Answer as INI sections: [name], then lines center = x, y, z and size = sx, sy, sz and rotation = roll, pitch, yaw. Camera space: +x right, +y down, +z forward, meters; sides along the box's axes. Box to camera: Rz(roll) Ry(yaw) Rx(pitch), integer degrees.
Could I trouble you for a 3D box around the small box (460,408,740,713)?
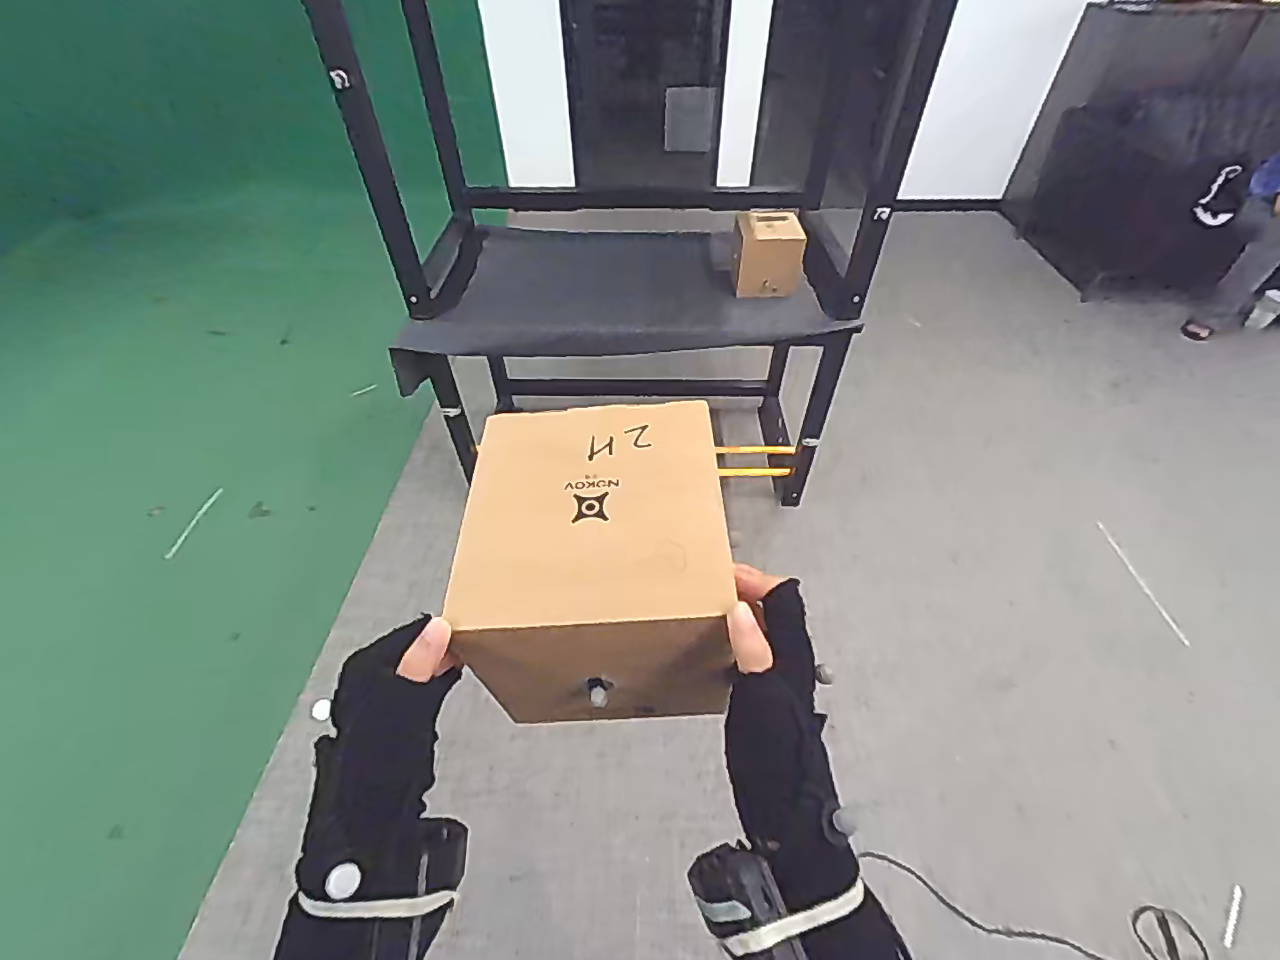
[small box]
center = -0.019, 0.069, 0.418
size = 0.168, 0.176, 0.179
rotation = -4, 49, 1
